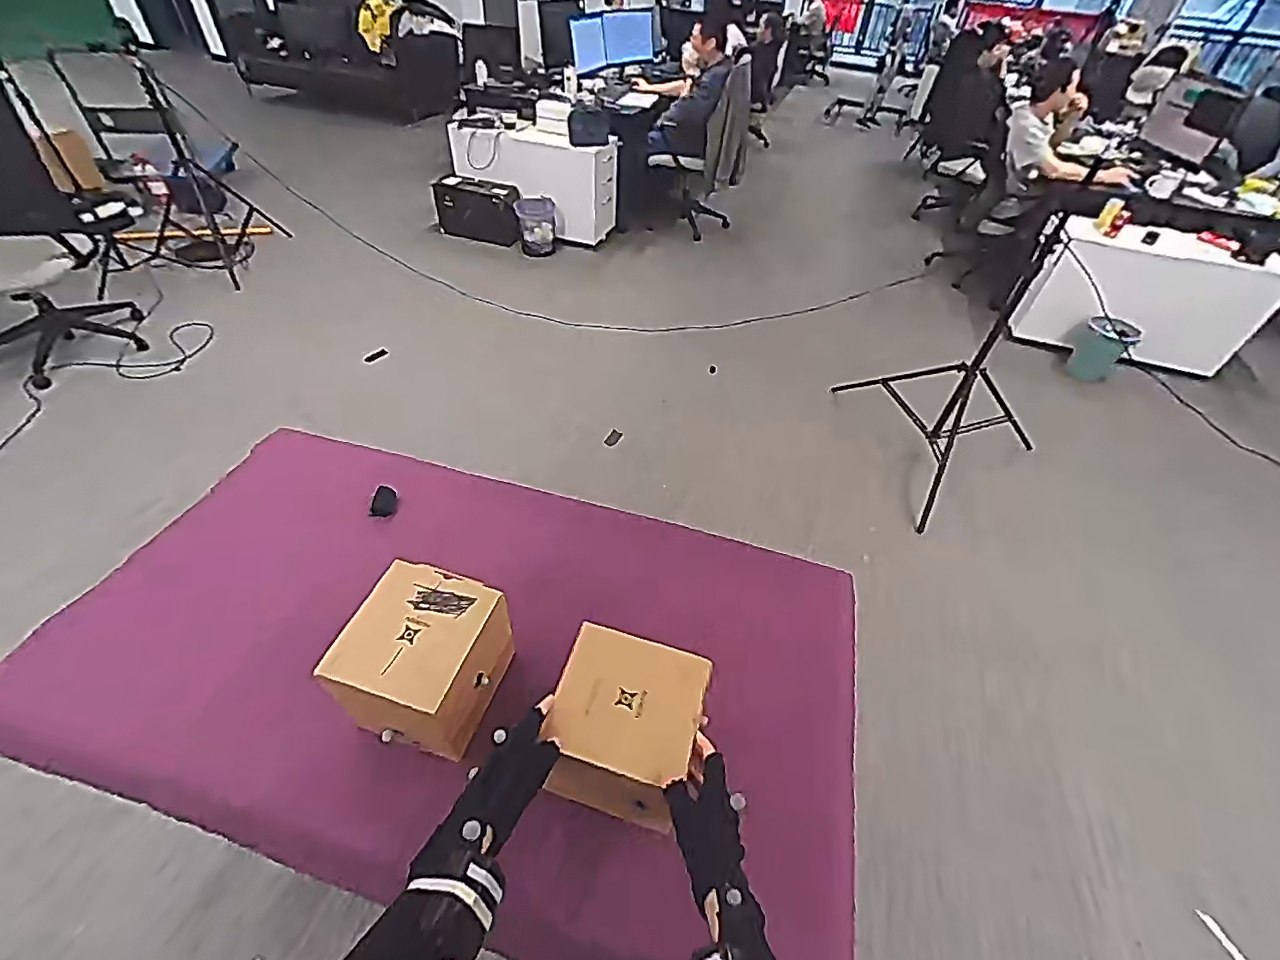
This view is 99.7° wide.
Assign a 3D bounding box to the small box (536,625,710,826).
[{"bbox_3d":[-0.018,0.322,0.704,0.179,0.176,0.168,12,43,9],"label":"small box"}]

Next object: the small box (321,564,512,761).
[{"bbox_3d":[-0.289,0.252,0.749,0.168,0.176,0.179,14,46,9],"label":"small box"}]
